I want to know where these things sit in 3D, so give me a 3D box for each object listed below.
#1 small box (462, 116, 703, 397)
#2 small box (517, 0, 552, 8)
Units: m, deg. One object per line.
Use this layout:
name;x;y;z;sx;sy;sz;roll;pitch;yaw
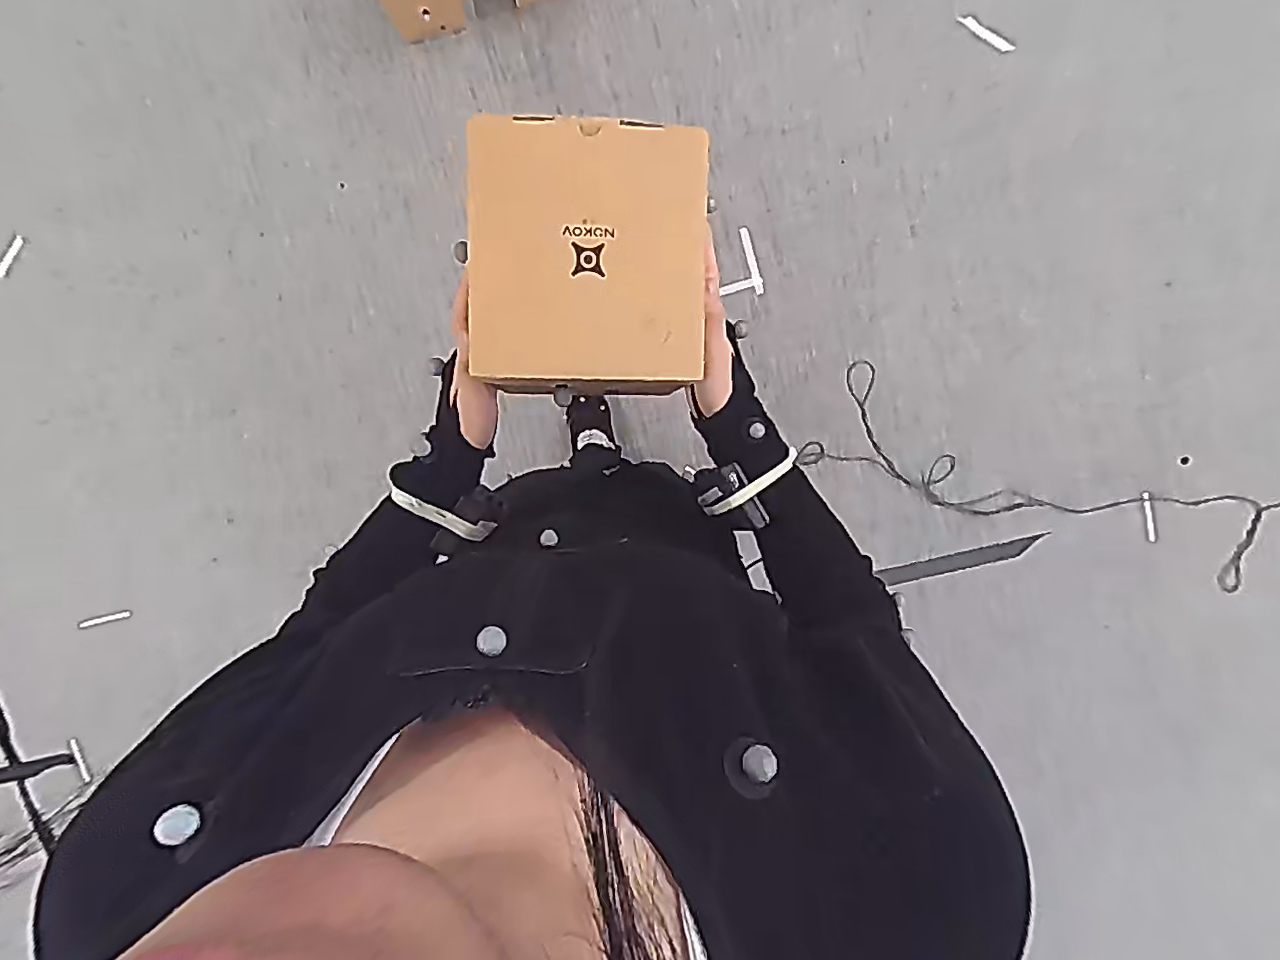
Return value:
small box;-0.045;-0.162;0.452;0.168;0.176;0.179;0;94;-5
small box;-0.240;-1.275;1.272;0.179;0.176;0.168;-14;96;4
